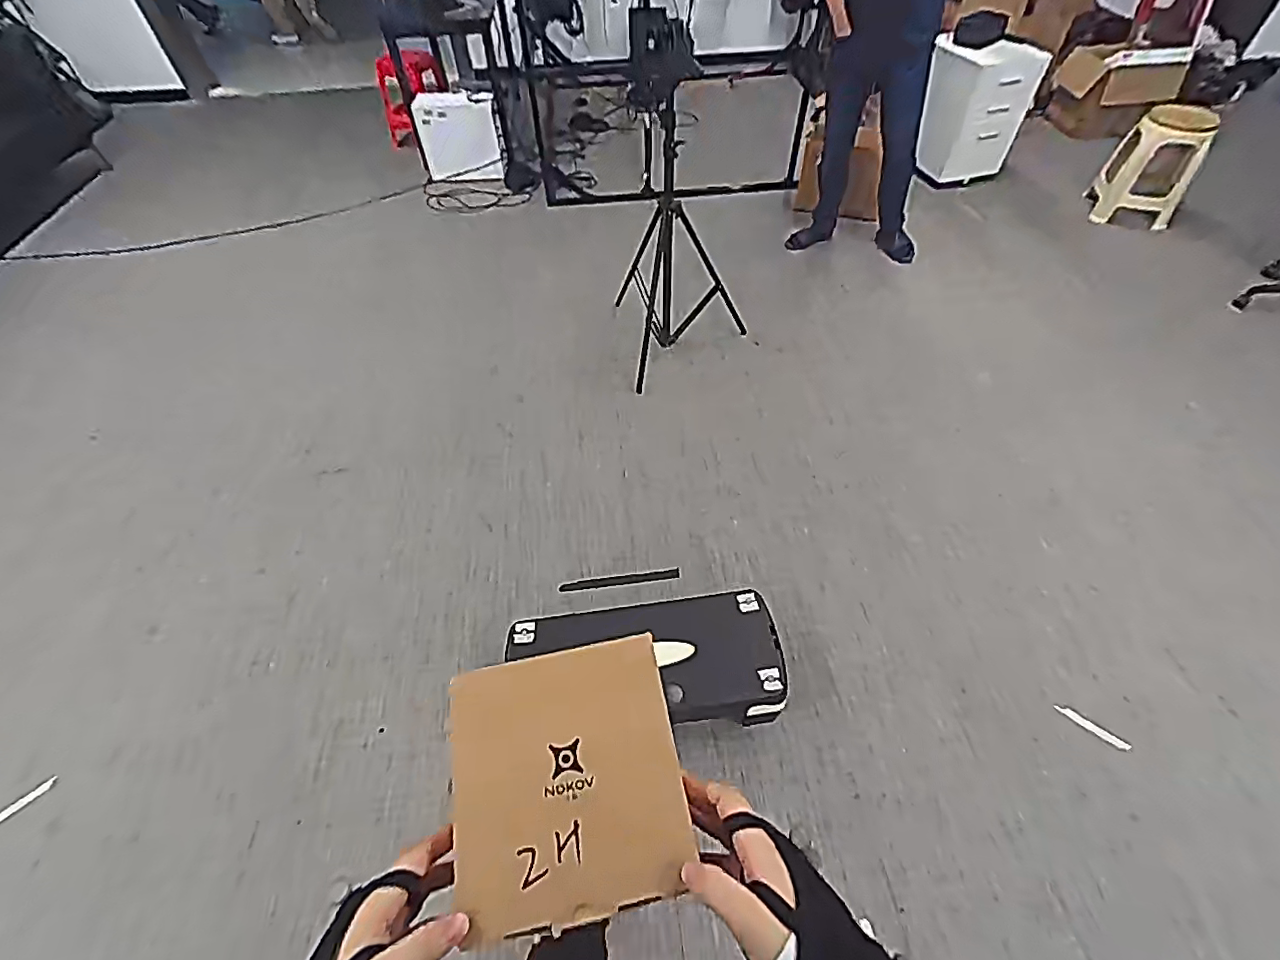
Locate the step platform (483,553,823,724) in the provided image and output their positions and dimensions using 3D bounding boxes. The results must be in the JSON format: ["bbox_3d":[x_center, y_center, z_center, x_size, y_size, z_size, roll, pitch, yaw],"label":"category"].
[{"bbox_3d":[0.020,0.368,1.173,0.684,0.204,0.286,-7,51,-4],"label":"step platform"}]

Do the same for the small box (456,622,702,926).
[{"bbox_3d":[-0.053,0.245,0.466,0.168,0.176,0.179,-10,60,-5],"label":"small box"}]
